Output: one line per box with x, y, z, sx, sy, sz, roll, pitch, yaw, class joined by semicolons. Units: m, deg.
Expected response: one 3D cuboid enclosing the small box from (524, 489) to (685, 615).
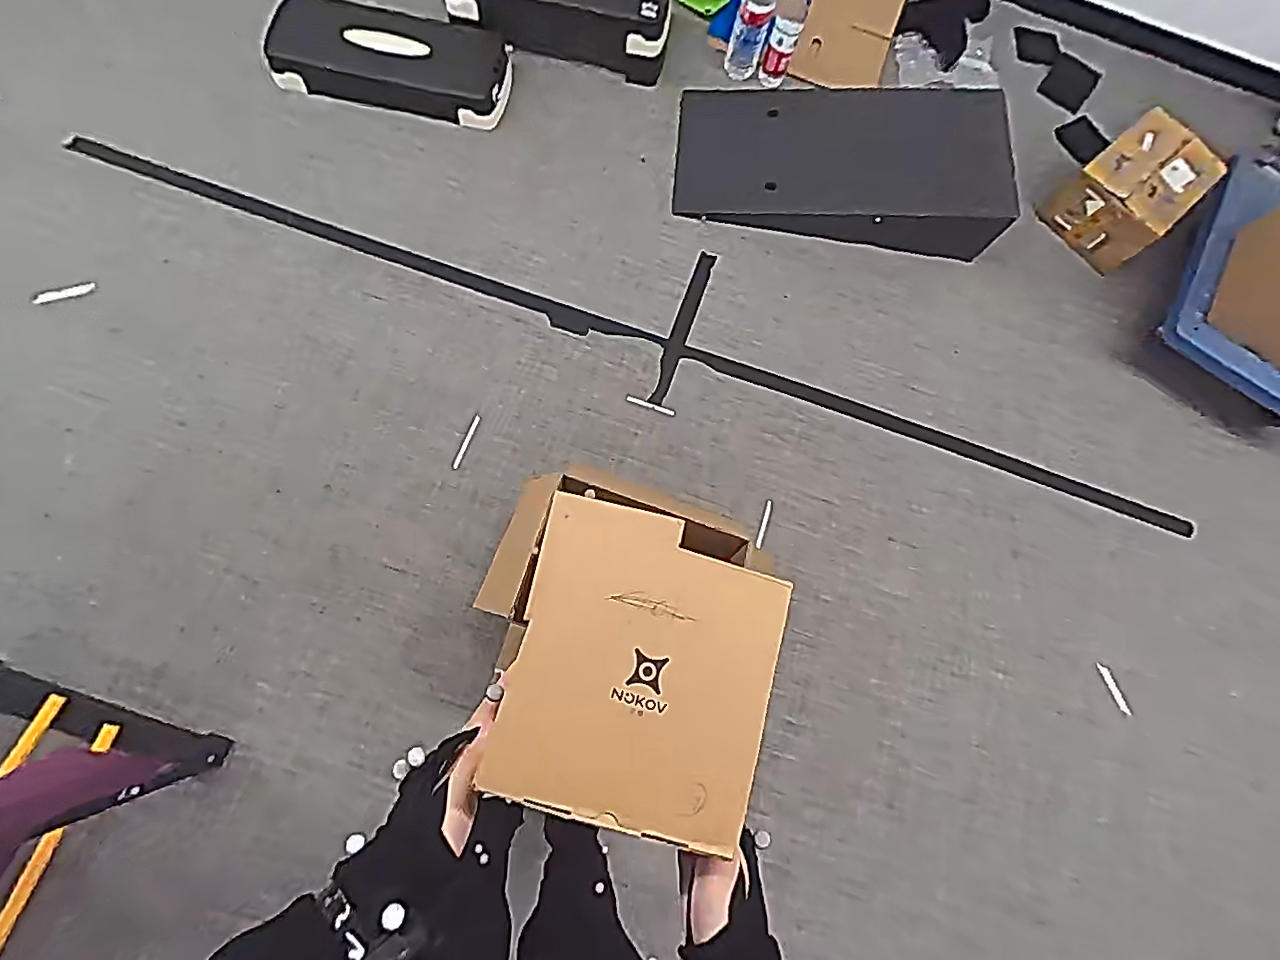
-0.053;0.123;0.758;0.179;0.176;0.168;14;78;-6;small box

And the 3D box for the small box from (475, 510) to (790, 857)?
-0.008;0.145;0.423;0.168;0.176;0.179;19;72;-4;small box
